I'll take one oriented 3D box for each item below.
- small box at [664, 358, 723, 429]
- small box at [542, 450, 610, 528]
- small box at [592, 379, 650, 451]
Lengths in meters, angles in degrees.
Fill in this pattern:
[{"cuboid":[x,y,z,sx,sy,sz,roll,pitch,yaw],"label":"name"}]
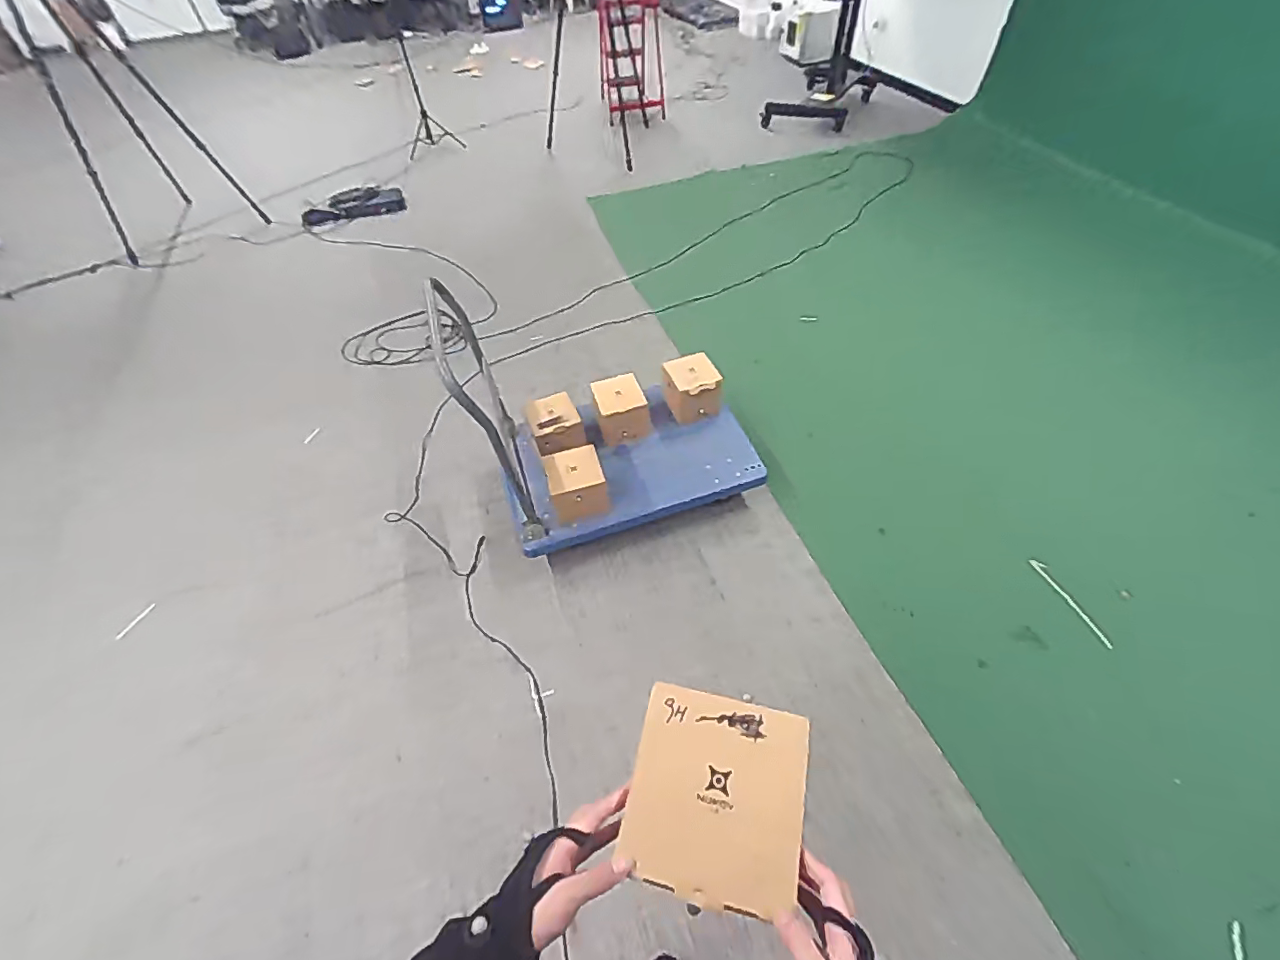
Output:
[{"cuboid":[0.194,-0.320,2.004,0.168,0.176,0.179,-18,52,-9],"label":"small box"},{"cuboid":[-0.204,0.033,1.746,0.179,0.176,0.168,-14,52,-8],"label":"small box"},{"cuboid":[-0.069,-0.234,1.957,0.168,0.176,0.179,-16,53,-10],"label":"small box"}]
